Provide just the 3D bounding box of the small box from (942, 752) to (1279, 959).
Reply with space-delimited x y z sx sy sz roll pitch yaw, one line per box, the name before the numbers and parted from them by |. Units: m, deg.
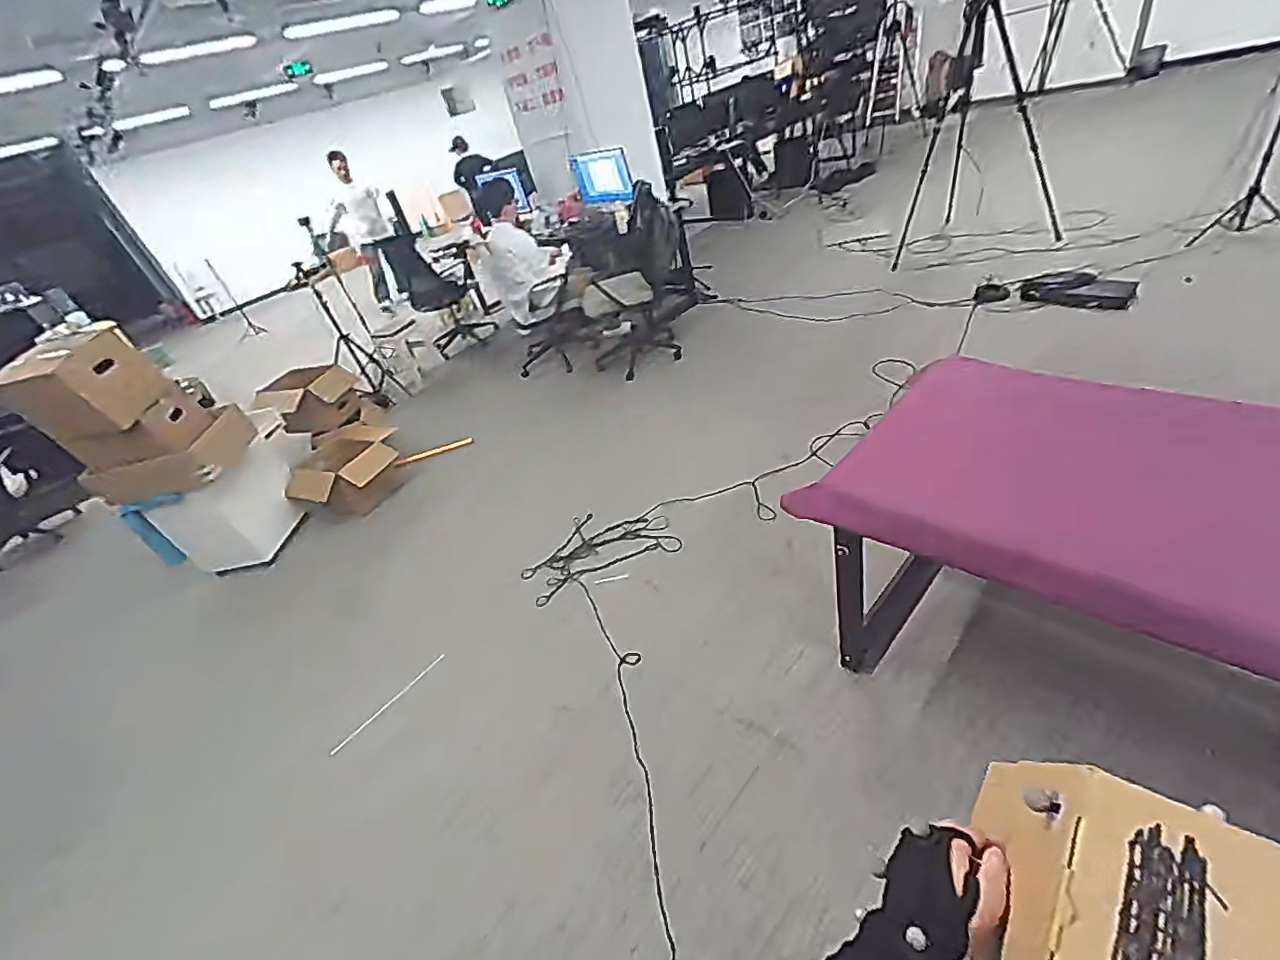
small box | 0.389 0.371 0.481 0.168 0.176 0.179 23 74 28
